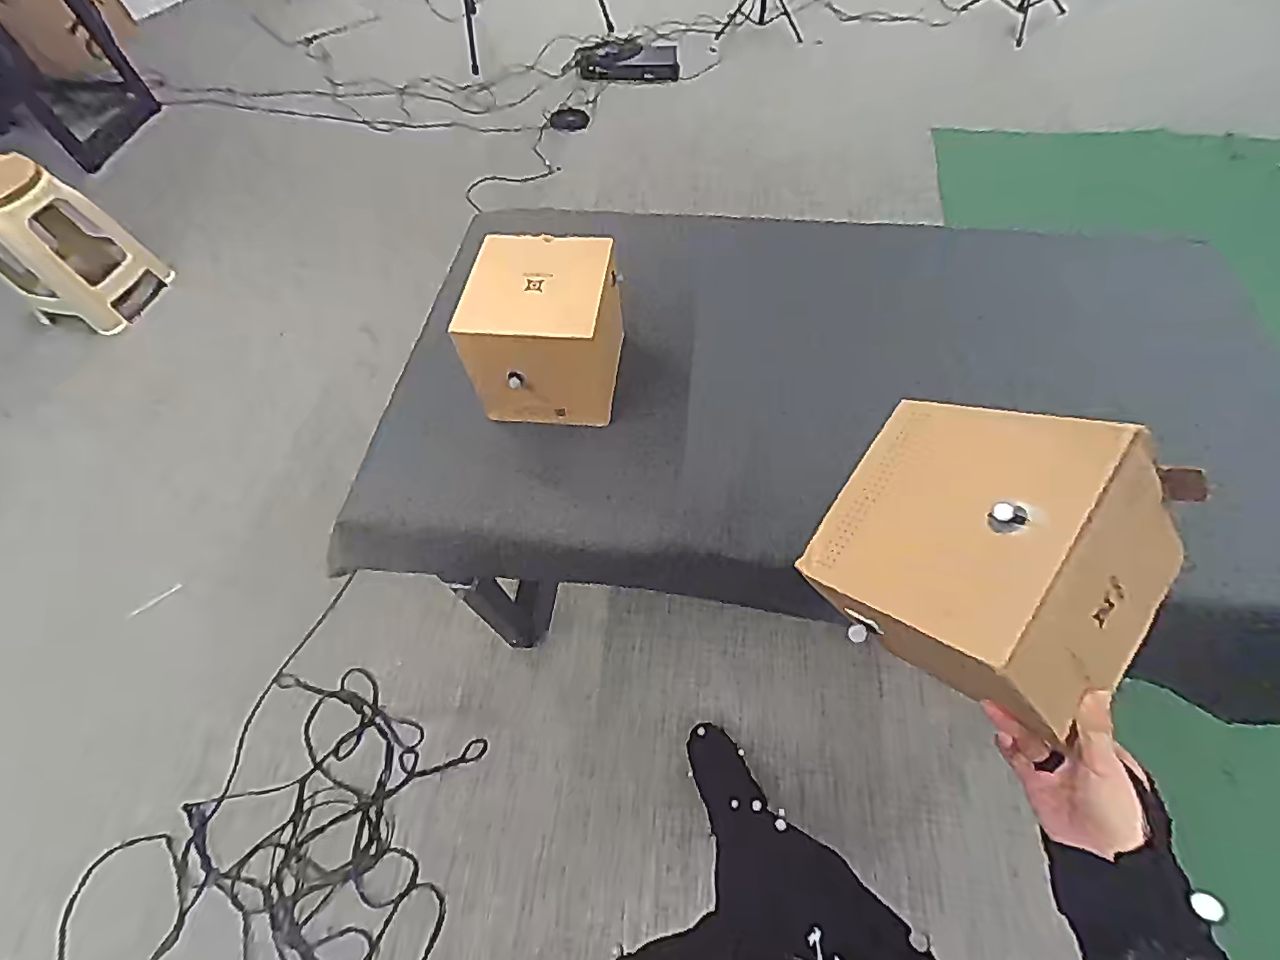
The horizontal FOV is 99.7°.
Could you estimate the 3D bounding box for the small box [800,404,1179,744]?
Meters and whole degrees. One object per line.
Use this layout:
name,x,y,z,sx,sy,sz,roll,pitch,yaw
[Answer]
small box,0.261,0.057,0.420,0.179,0.168,0.176,-55,30,-7

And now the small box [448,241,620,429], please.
small box,-0.120,-0.182,0.701,0.168,0.176,0.179,3,58,5
